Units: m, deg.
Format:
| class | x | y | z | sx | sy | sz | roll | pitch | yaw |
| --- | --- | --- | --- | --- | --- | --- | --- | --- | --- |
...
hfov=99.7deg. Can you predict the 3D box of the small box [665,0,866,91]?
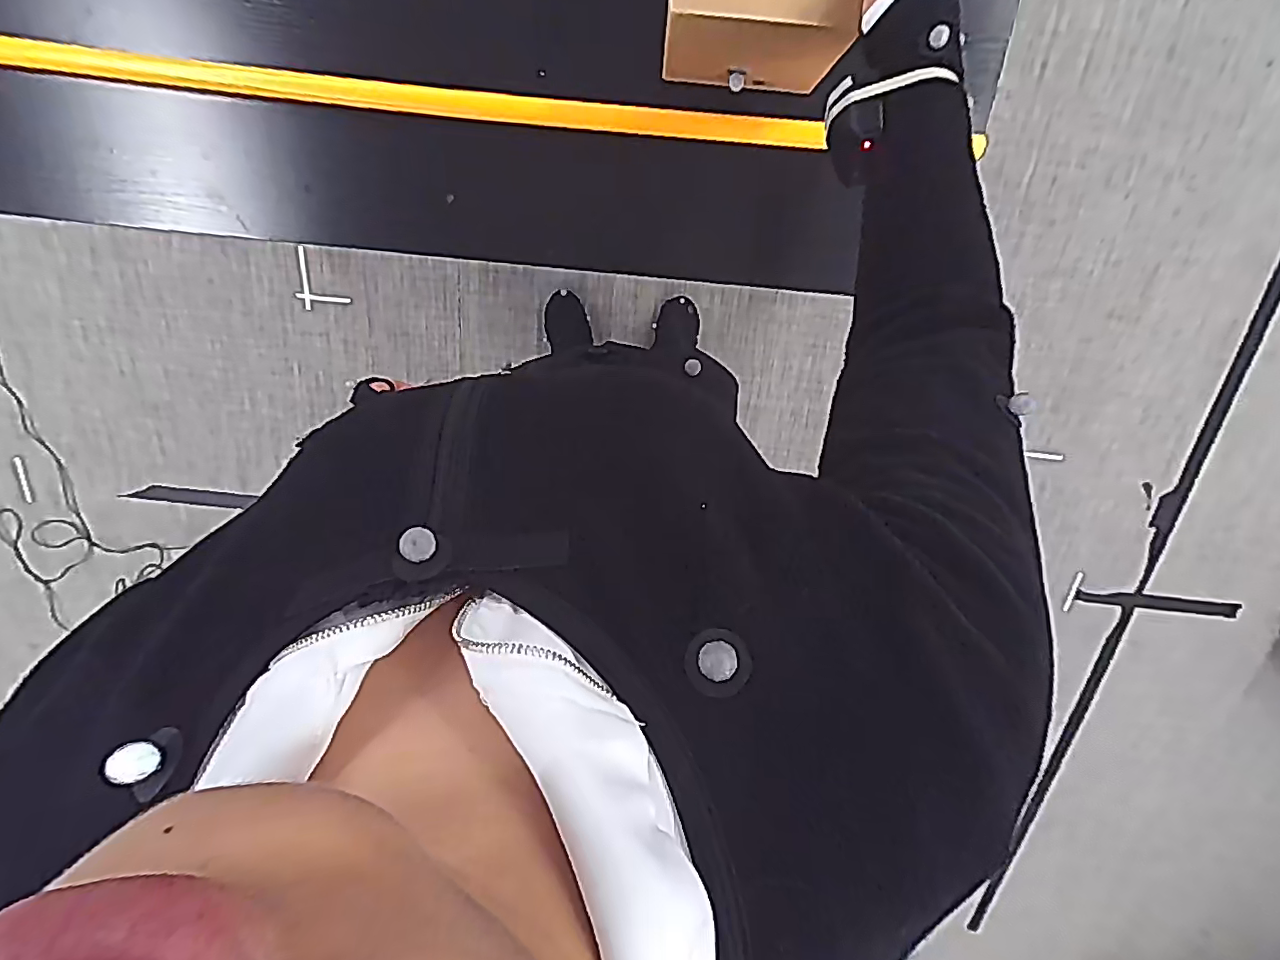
| class | x | y | z | sx | sy | sz | roll | pitch | yaw |
| --- | --- | --- | --- | --- | --- | --- | --- | --- | --- |
| small box | 0.114 | -0.496 | 0.499 | 0.168 | 0.176 | 0.179 | 5 | 111 | -1 |
